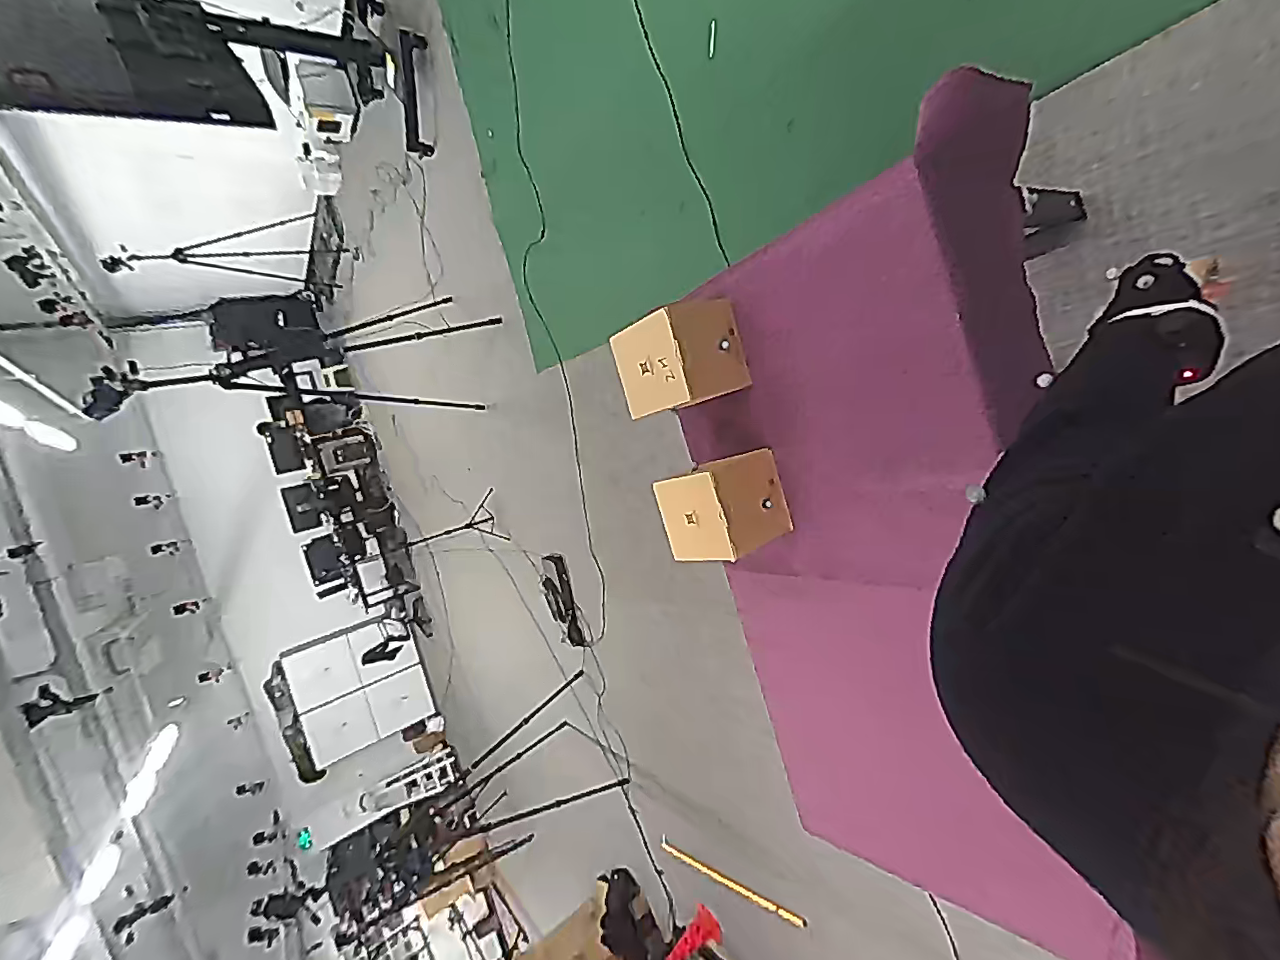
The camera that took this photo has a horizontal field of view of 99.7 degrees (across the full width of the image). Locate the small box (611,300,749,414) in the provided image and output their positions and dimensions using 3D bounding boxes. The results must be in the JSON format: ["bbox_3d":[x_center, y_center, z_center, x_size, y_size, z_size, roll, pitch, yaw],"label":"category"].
[{"bbox_3d":[0.077,-0.234,1.035,0.179,0.176,0.168,-10,99,52],"label":"small box"}]

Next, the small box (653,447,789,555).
[{"bbox_3d":[0.159,0.042,1.061,0.179,0.176,0.168,-13,95,54],"label":"small box"}]
